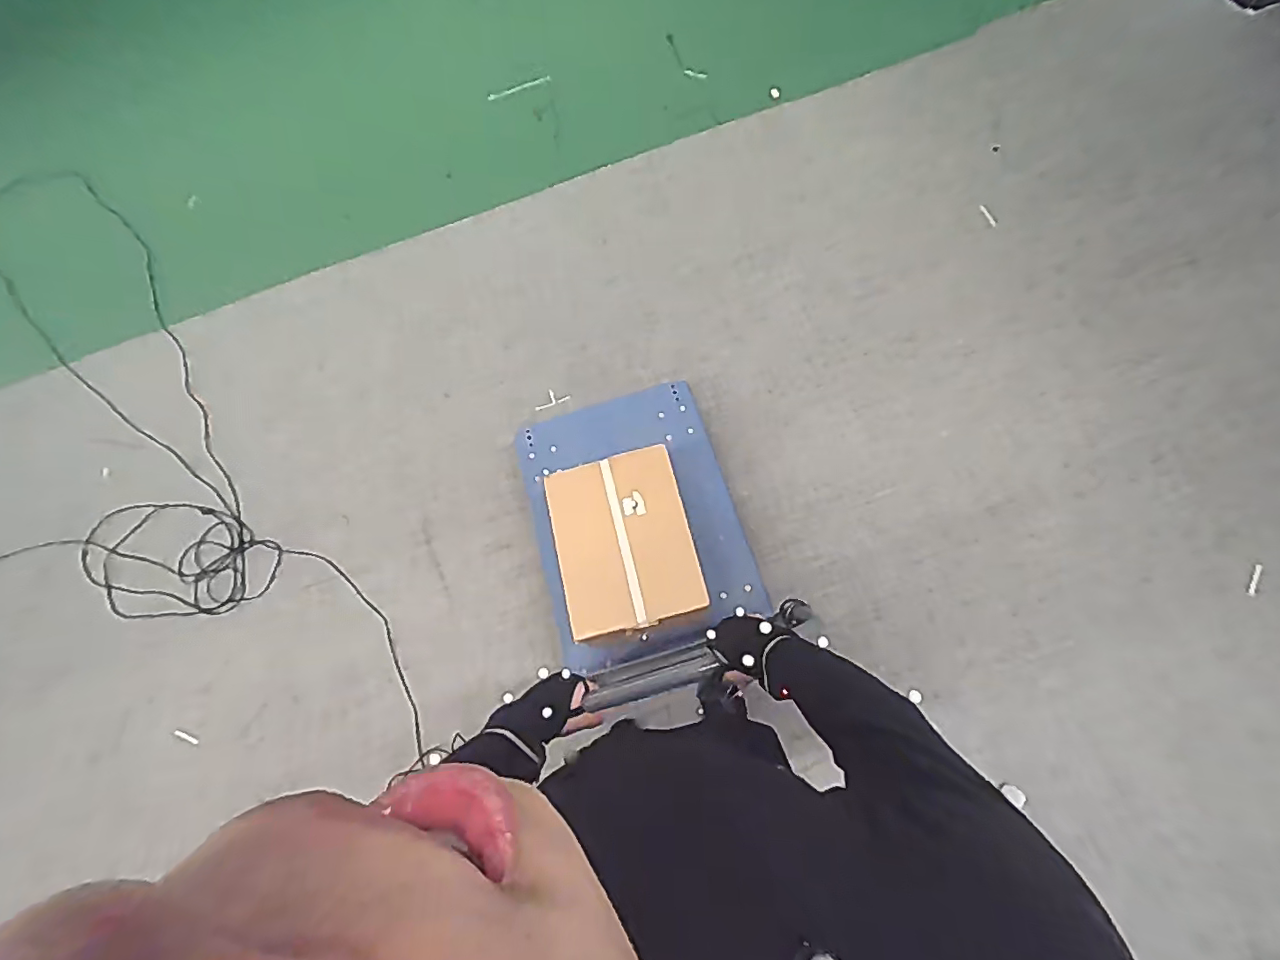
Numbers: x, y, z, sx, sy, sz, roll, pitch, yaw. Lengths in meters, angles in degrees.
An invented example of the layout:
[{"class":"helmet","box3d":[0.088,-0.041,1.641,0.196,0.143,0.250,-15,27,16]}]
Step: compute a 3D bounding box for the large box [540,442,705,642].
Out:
[{"class":"large box","box3d":[-0.034,0.175,1.397,0.320,0.320,0.408,-15,69,1]}]
